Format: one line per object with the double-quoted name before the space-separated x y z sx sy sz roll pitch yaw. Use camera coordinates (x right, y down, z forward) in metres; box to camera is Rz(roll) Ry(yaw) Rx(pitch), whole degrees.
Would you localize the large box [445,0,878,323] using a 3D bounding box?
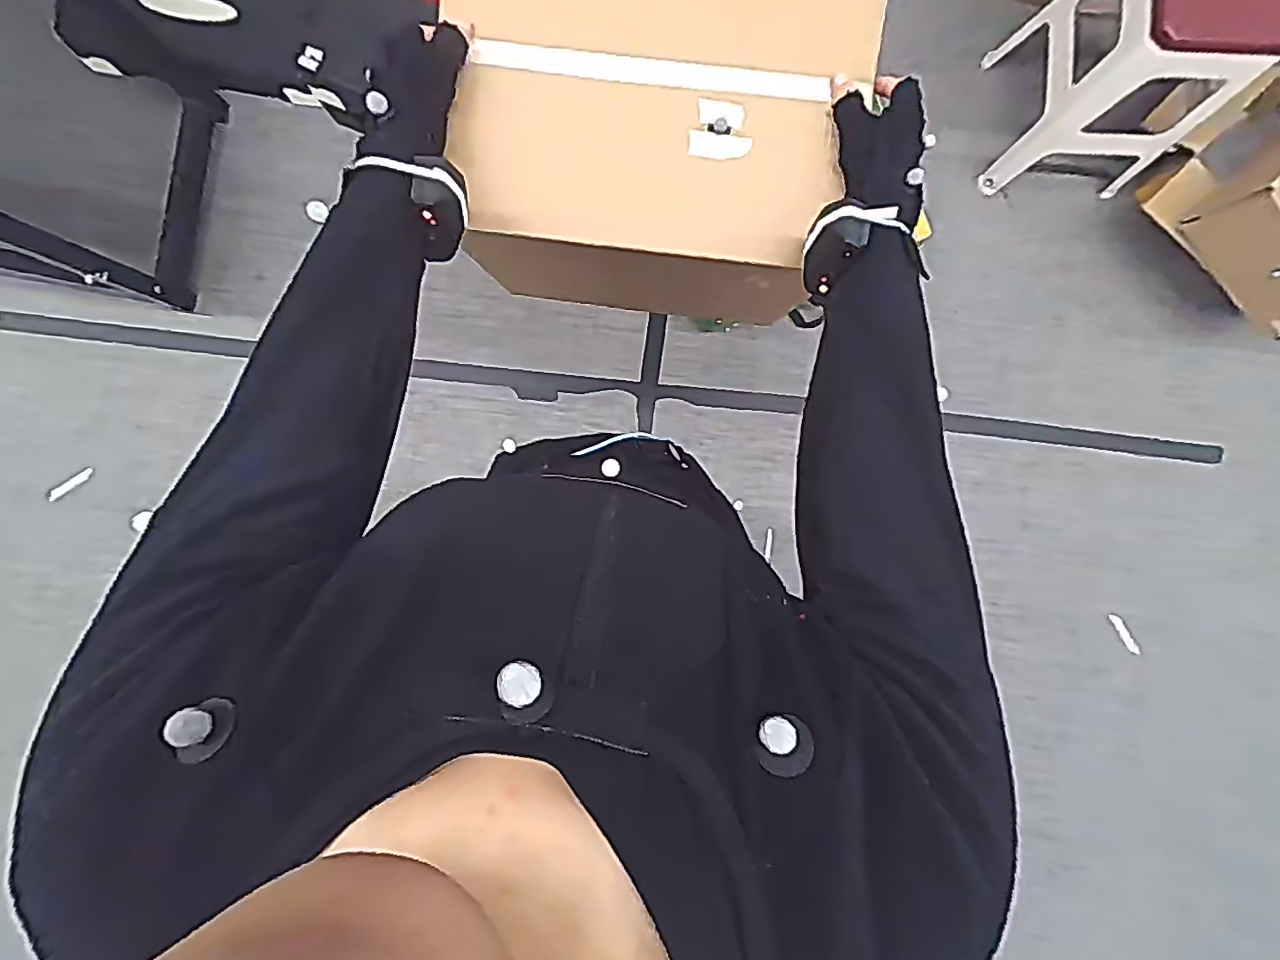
"large box" 0.017 -0.394 0.666 0.408 0.320 0.320 7 97 -1
